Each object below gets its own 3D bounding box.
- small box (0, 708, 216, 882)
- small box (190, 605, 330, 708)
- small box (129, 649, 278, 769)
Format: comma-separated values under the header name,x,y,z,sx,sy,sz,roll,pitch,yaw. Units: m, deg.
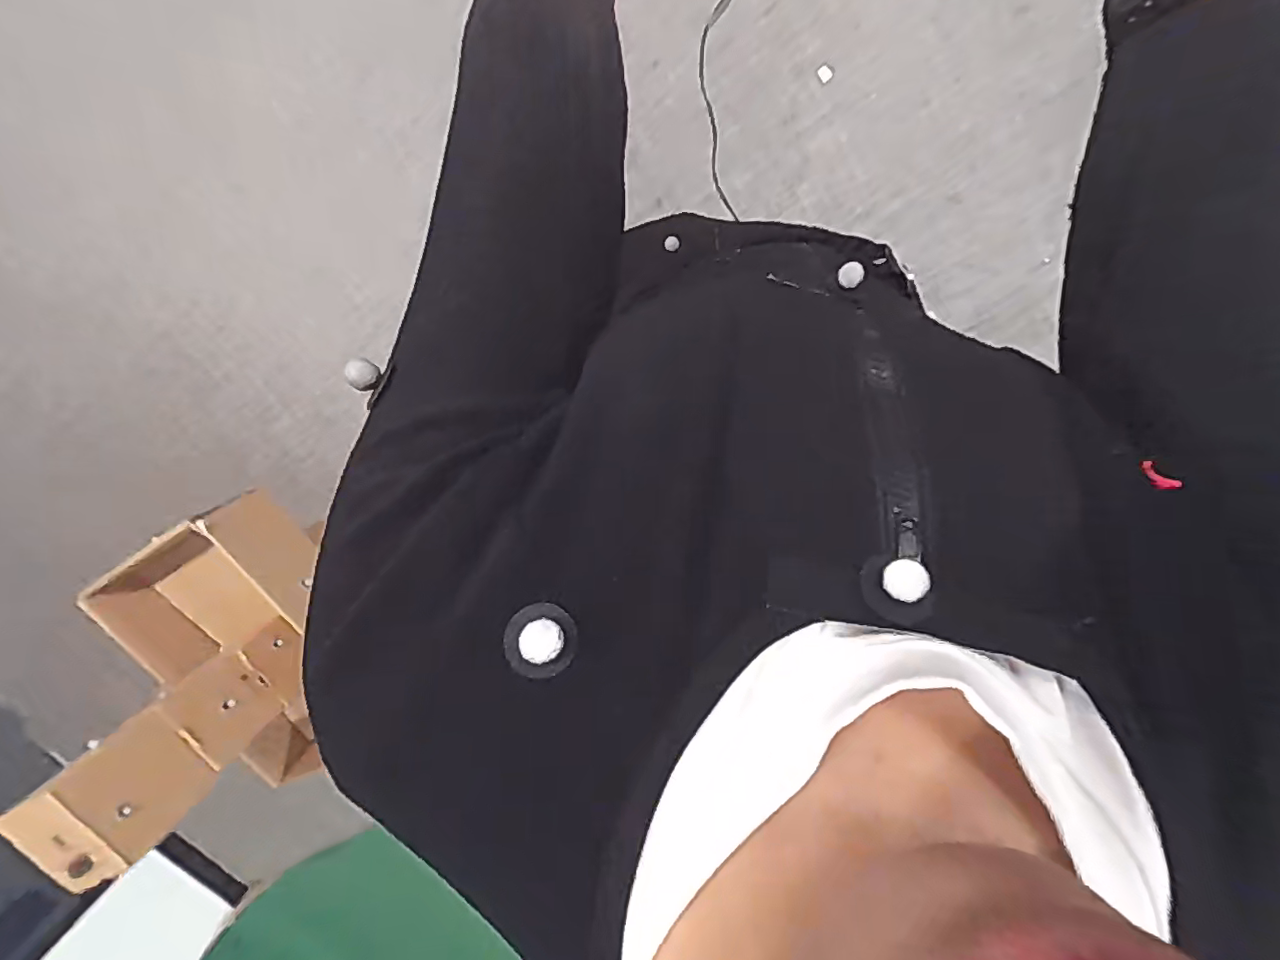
name,x,y,z,sx,sy,sz,roll,pitch,yaw
small box,-0.896,0.535,0.930,0.168,0.176,0.179,-29,104,16
small box,-0.850,0.414,1.233,0.179,0.176,0.168,-28,105,18
small box,-0.876,0.473,1.082,0.179,0.176,0.168,-31,104,16
